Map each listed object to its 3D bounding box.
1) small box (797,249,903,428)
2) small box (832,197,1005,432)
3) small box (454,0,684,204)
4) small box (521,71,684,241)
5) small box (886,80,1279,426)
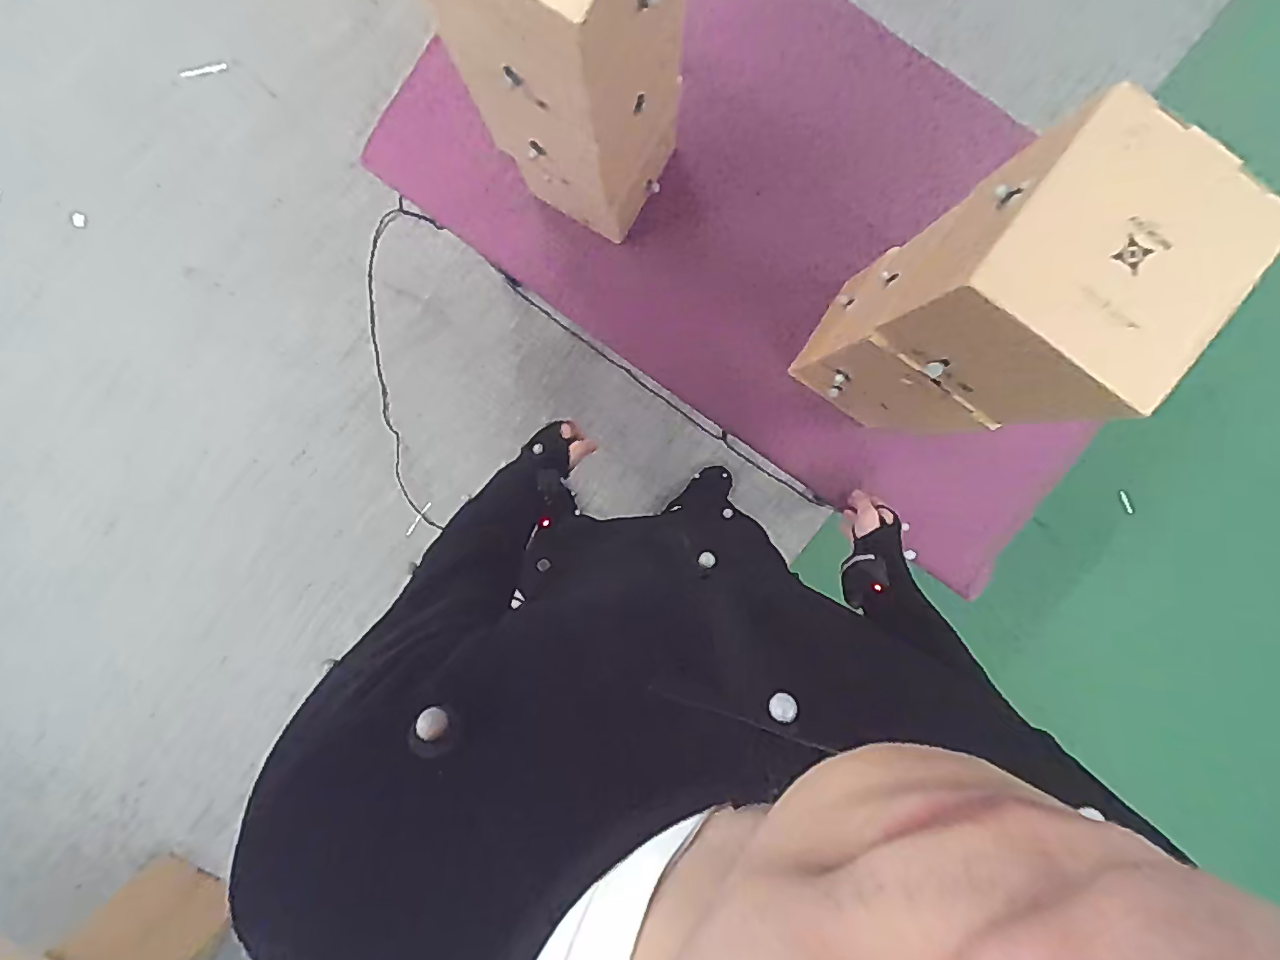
[{"bbox_3d":[0.349,-0.186,0.779,0.168,0.176,0.179,34,93,-2],"label":"small box"},{"bbox_3d":[0.345,-0.167,0.615,0.168,0.176,0.179,36,92,-3],"label":"small box"},{"bbox_3d":[-0.066,-0.443,0.590,0.168,0.176,0.179,31,95,-3],"label":"small box"},{"bbox_3d":[-0.057,-0.474,0.753,0.168,0.176,0.179,30,94,-2],"label":"small box"},{"bbox_3d":[0.347,-0.161,0.452,0.168,0.176,0.179,37,93,-2],"label":"small box"}]
